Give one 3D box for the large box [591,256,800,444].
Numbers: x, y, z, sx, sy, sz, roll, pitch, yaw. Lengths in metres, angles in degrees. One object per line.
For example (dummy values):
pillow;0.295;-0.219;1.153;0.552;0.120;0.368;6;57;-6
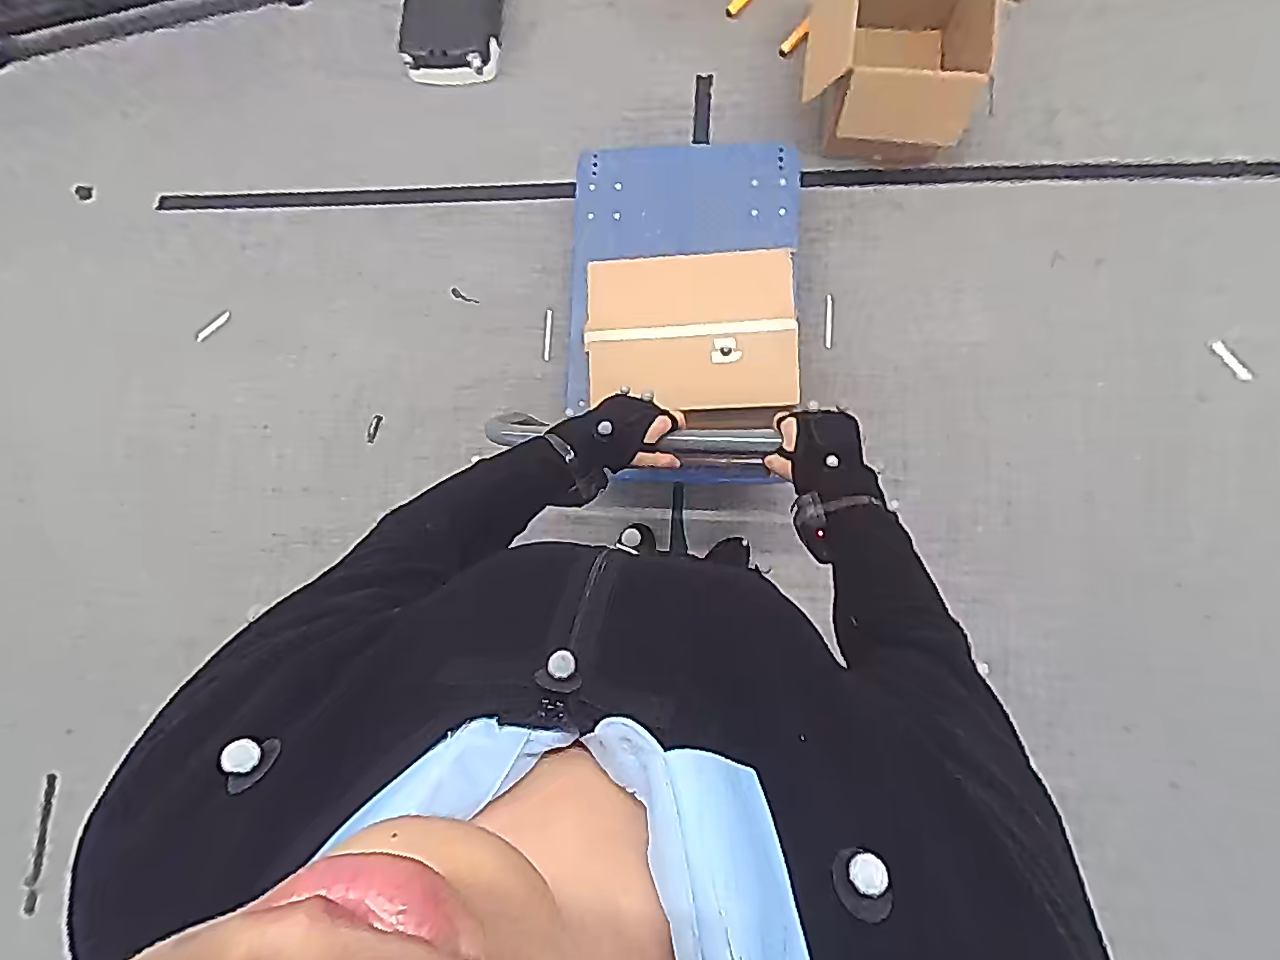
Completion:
large box;0.114;-0.266;1.212;0.408;0.320;0.320;-2;85;4
